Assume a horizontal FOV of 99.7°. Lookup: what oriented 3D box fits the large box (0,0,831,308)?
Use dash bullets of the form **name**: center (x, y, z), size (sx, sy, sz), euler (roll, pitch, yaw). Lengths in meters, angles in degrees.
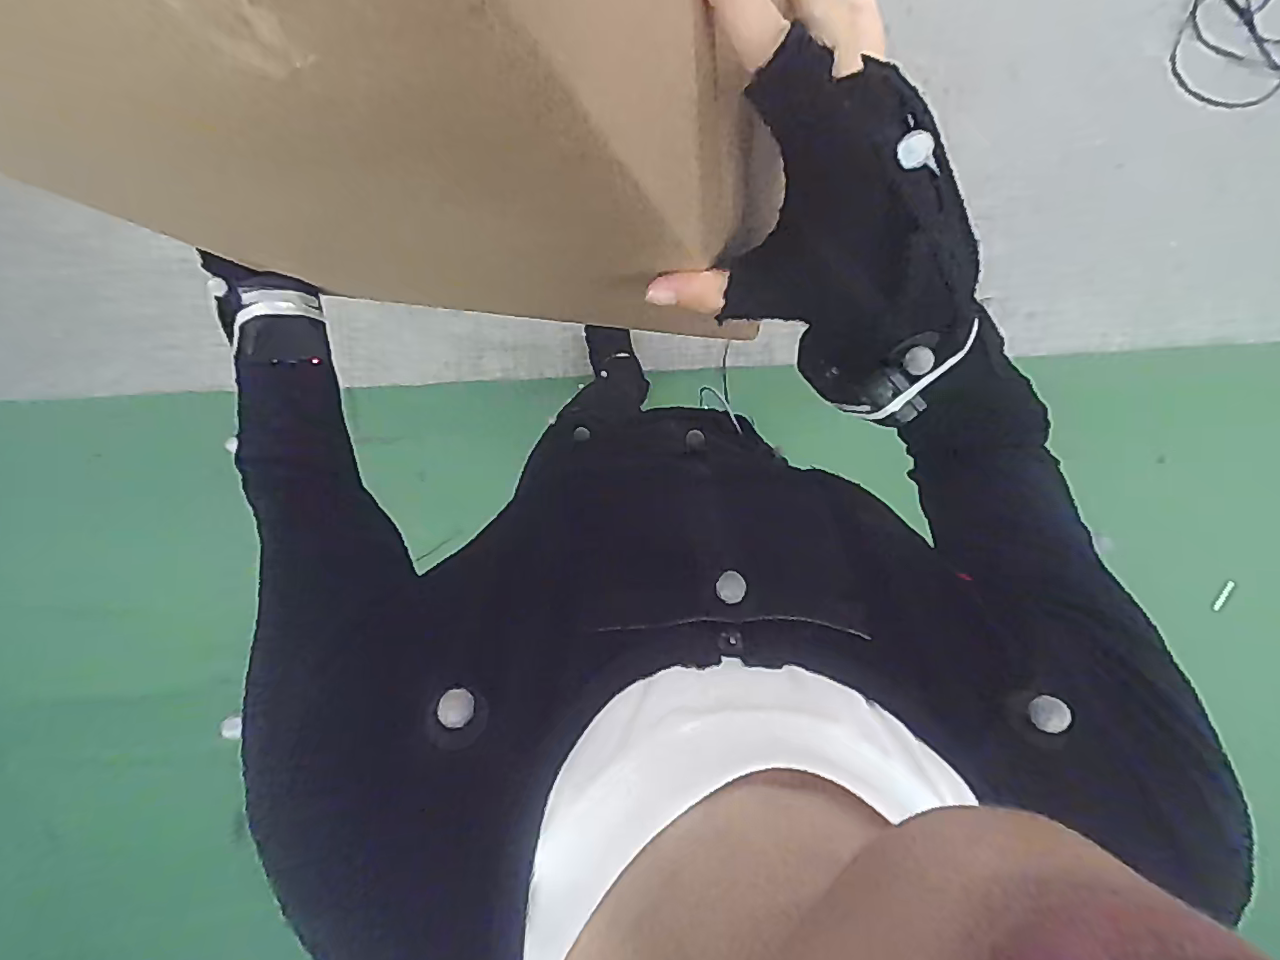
- **large box**: center (-0.131, -0.296, 0.264), size (0.408, 0.320, 0.320), euler (13, 92, 24)
